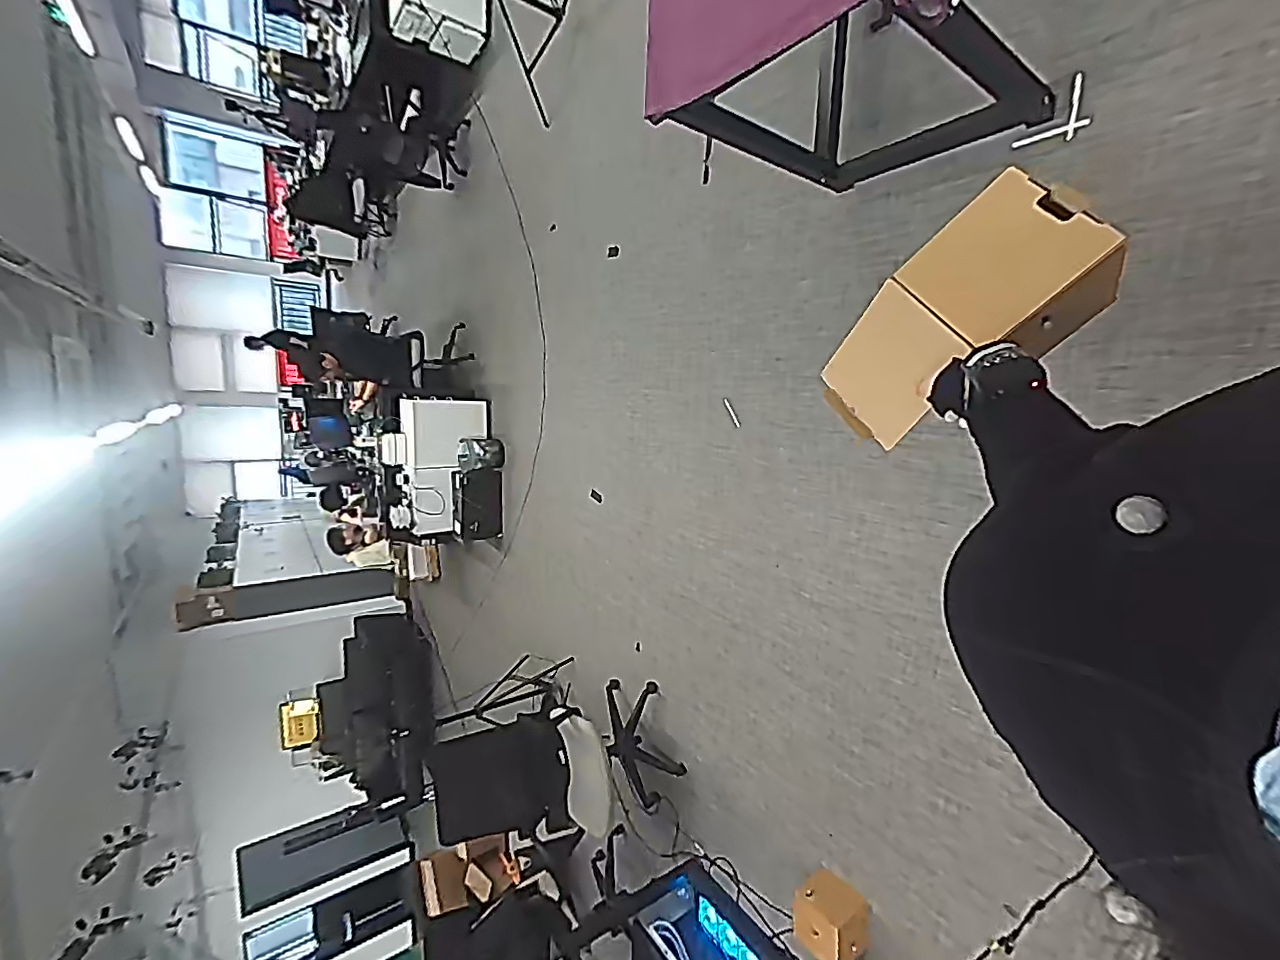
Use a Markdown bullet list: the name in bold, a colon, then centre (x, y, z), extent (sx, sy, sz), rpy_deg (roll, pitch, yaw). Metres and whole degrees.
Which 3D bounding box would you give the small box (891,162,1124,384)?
- **small box**: centre (0.469, -0.252, 0.700), extent (0.179, 0.176, 0.168), rpy_deg (-44, 59, 23)
